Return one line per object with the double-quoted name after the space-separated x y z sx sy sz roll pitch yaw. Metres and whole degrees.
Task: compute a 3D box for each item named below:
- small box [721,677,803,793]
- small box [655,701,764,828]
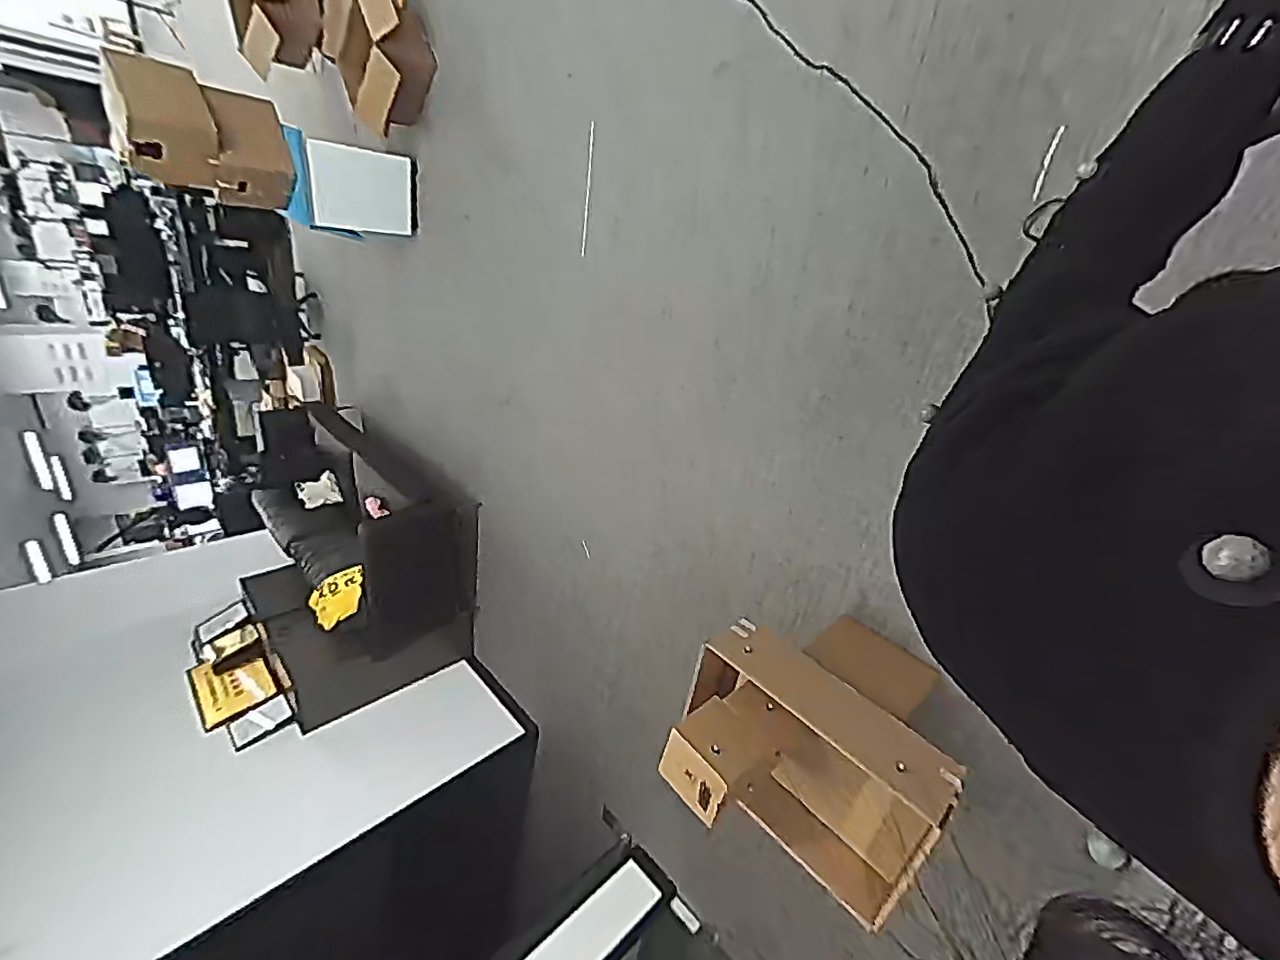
0.295 0.649 1.397 0.168 0.176 0.179 37 125 35 "small box"
0.168 0.670 1.295 0.179 0.176 0.168 36 124 36 "small box"
